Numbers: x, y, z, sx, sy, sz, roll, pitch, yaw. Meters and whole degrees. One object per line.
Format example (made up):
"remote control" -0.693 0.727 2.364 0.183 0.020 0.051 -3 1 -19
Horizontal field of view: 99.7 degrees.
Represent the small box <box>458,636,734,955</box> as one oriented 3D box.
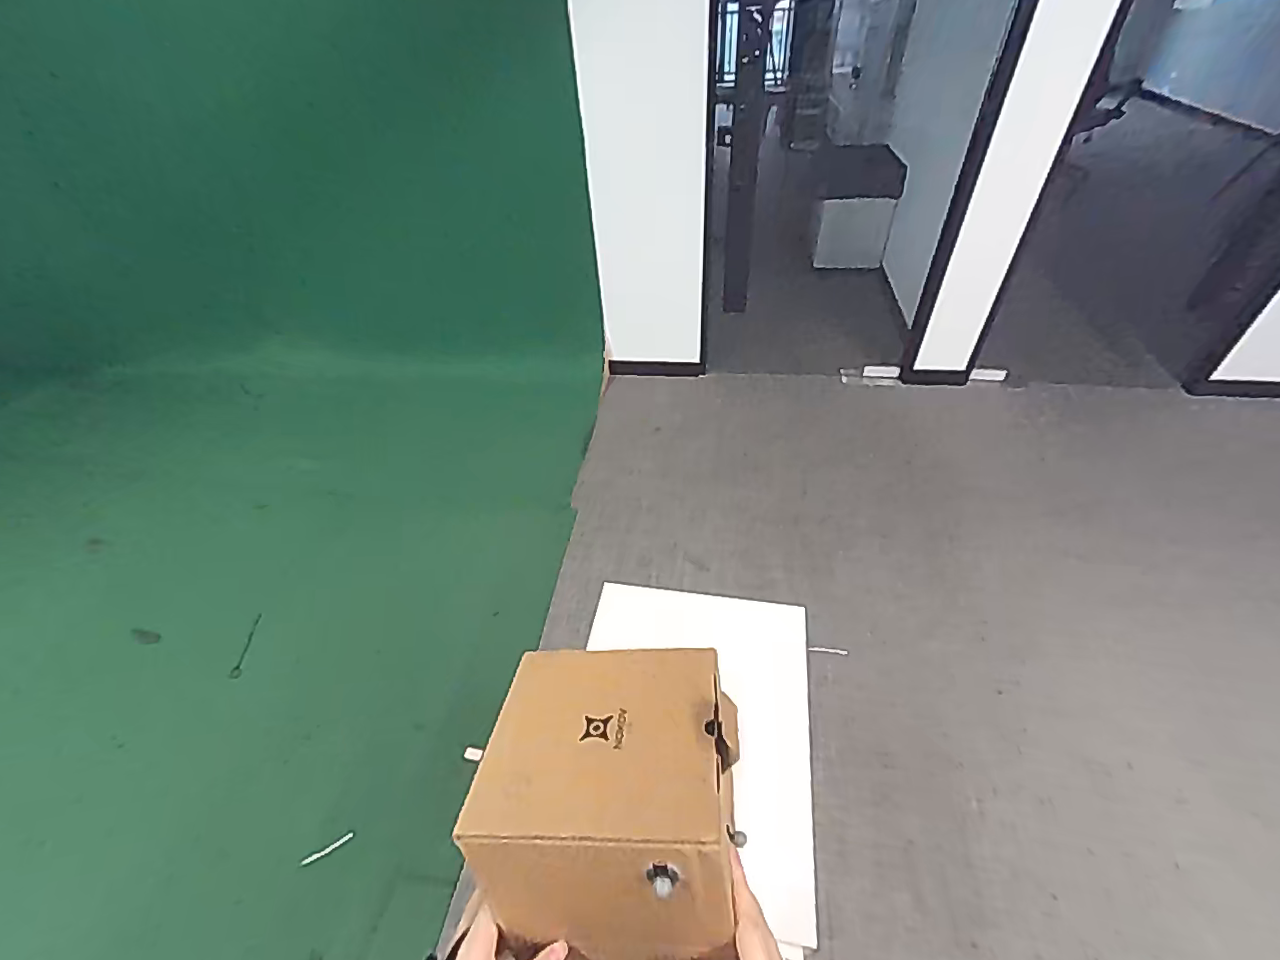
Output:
"small box" -0.018 0.253 0.450 0.179 0.176 0.168 -4 25 8
